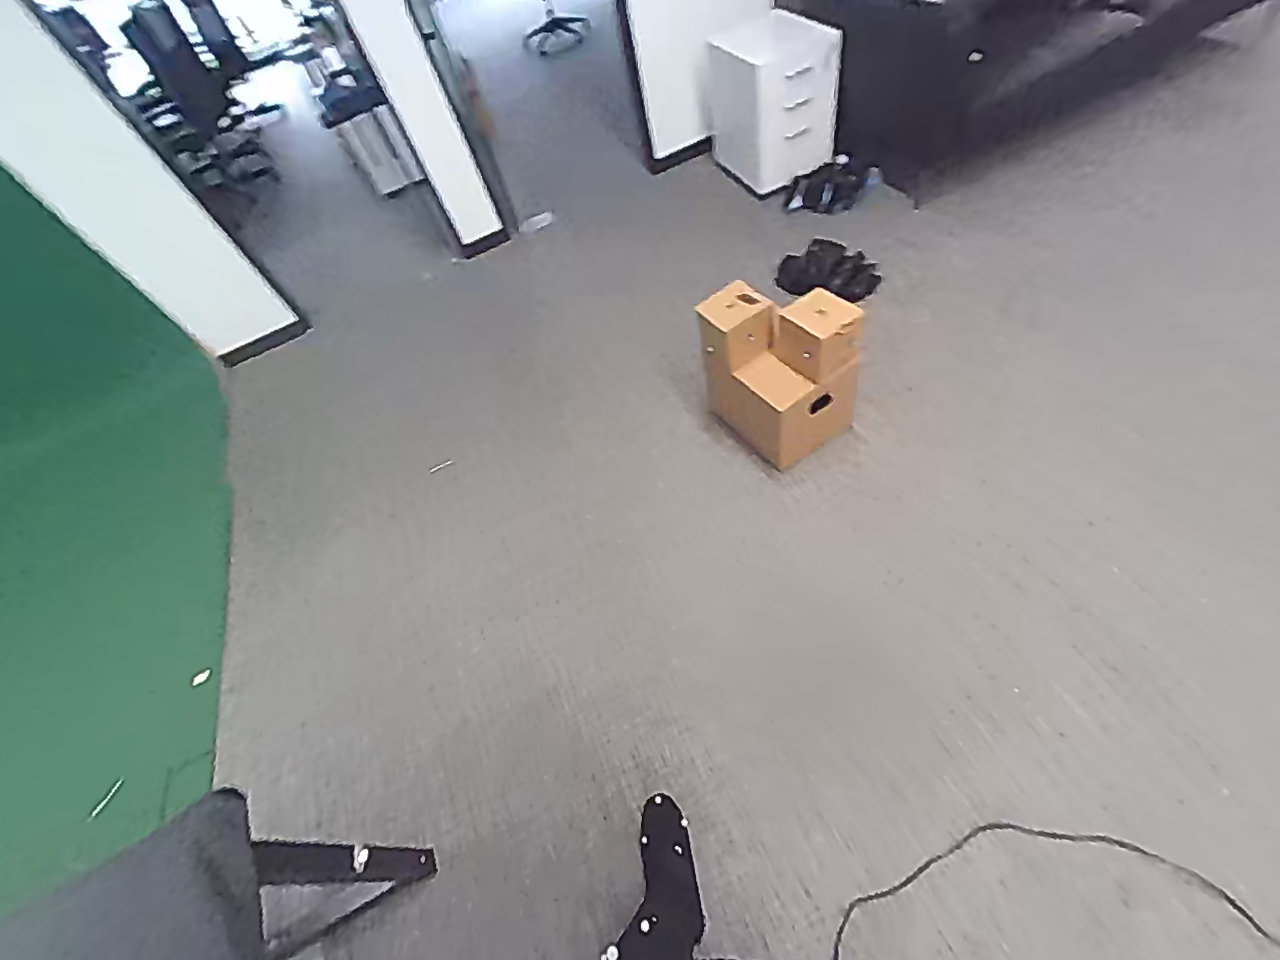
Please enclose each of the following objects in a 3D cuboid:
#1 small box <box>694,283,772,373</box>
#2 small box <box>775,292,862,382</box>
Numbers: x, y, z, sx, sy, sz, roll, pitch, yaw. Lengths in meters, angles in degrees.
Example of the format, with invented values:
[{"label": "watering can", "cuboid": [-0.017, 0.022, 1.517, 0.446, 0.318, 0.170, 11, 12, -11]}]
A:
[{"label": "small box", "cuboid": [0.294, -0.471, 1.688, 0.179, 0.176, 0.168, -34, 53, -6]}, {"label": "small box", "cuboid": [0.517, -0.414, 1.588, 0.168, 0.176, 0.179, -33, 52, -14]}]
